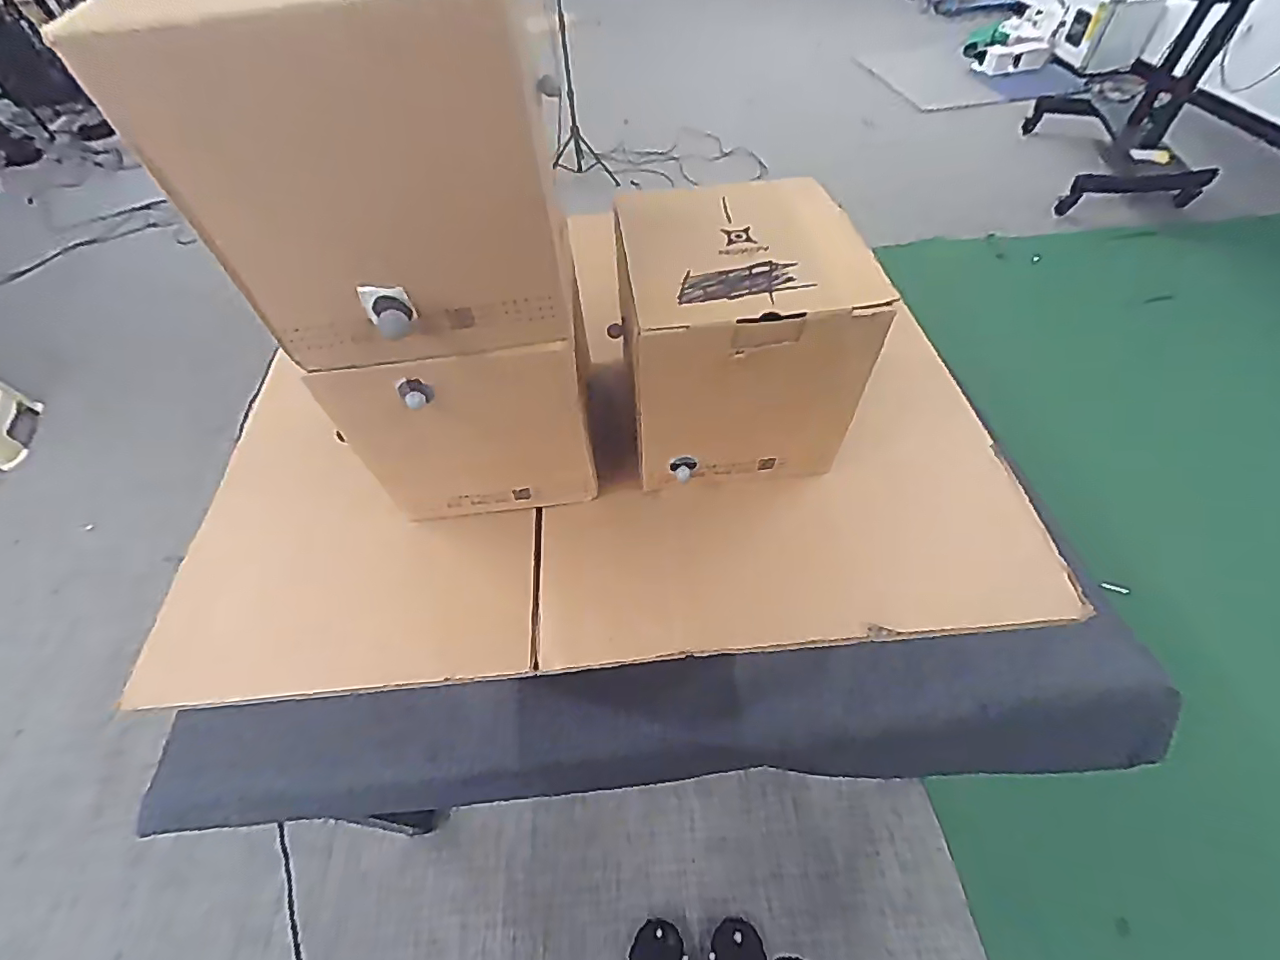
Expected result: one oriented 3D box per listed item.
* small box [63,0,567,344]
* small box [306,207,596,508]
[{"bbox_3d":[-0.139,-0.205,0.309,0.168,0.176,0.179,-9,55,-2],"label":"small box"},{"bbox_3d":[-0.130,-0.099,0.451,0.168,0.176,0.179,-6,53,0],"label":"small box"}]
